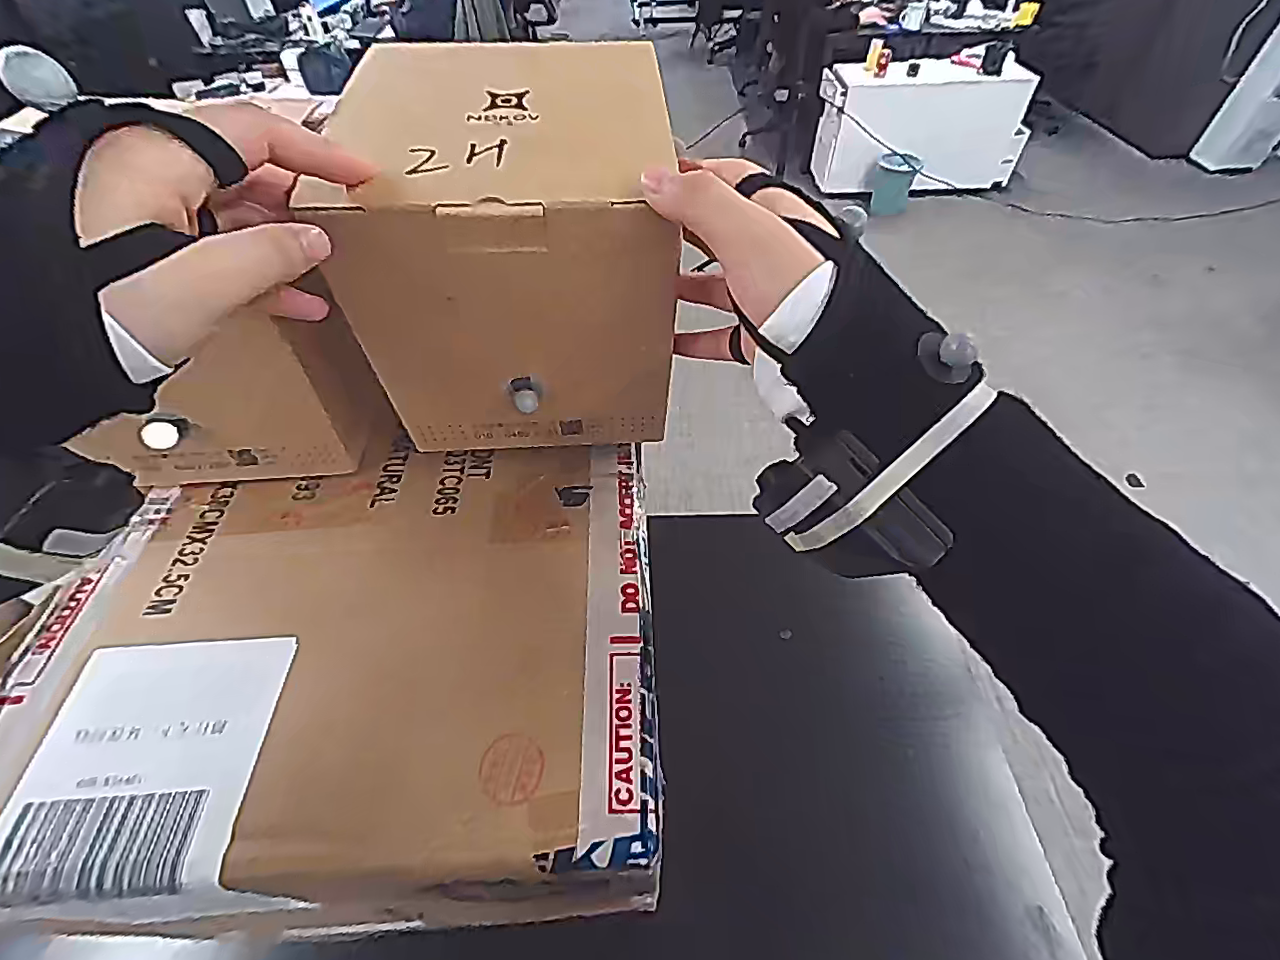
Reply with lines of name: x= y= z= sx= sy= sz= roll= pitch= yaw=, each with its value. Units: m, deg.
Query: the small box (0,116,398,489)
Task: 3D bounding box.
small box: x=-0.270 y=-0.114 z=0.350 sx=0.168 sy=0.176 sz=0.179 roll=-3 pitch=48 yaw=-5

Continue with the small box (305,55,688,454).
small box: x=-0.065 y=-0.136 z=0.342 sx=0.168 sy=0.176 sz=0.179 roll=-3 pitch=56 yaw=-2
